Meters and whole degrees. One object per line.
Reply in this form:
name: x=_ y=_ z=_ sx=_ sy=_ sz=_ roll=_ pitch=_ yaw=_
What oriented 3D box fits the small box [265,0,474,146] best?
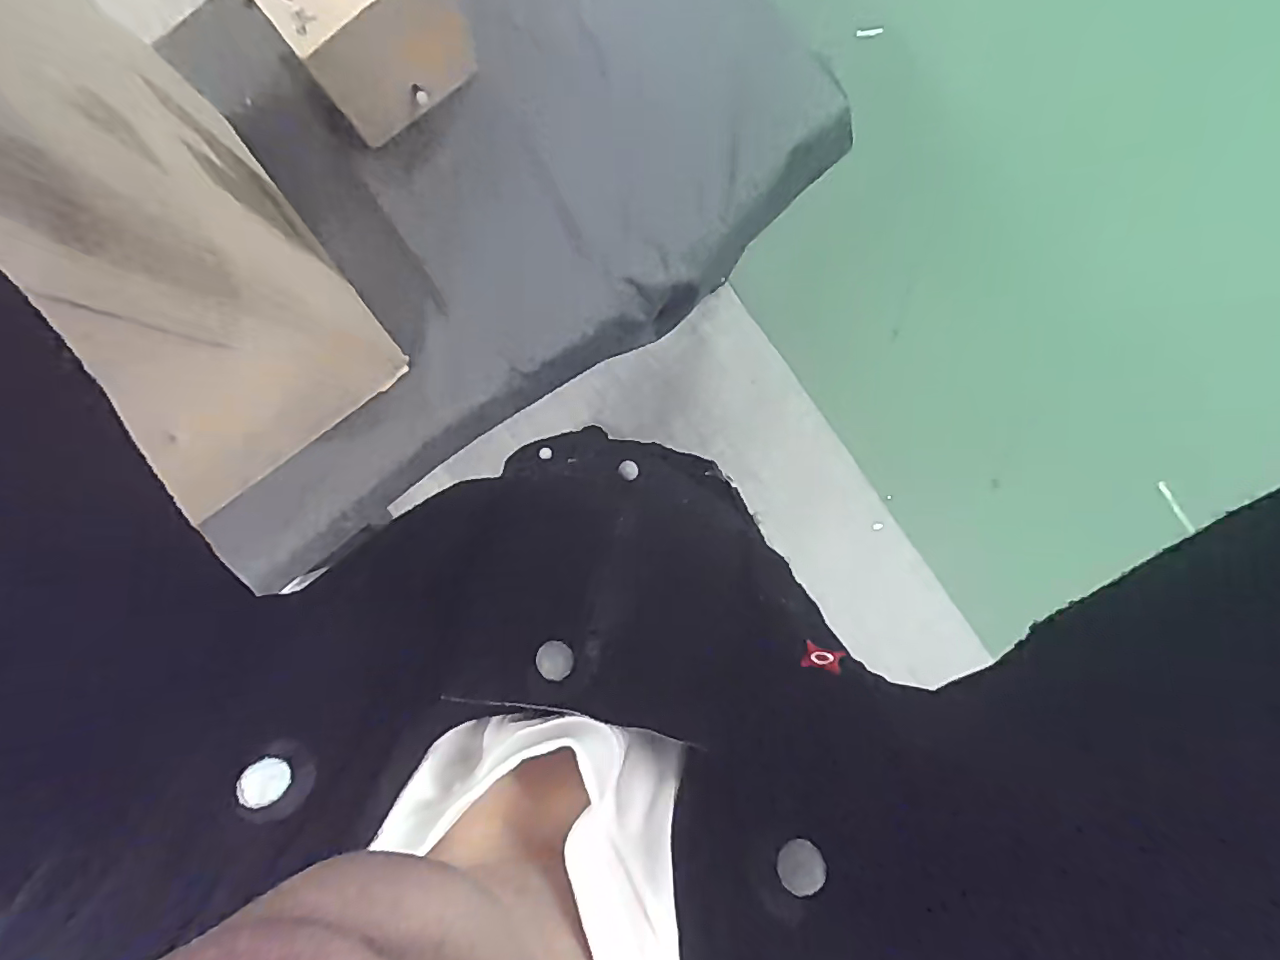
small box: x=-0.315 y=-0.544 z=0.625 sx=0.179 sy=0.176 sz=0.168 roll=-38 pitch=93 yaw=0
